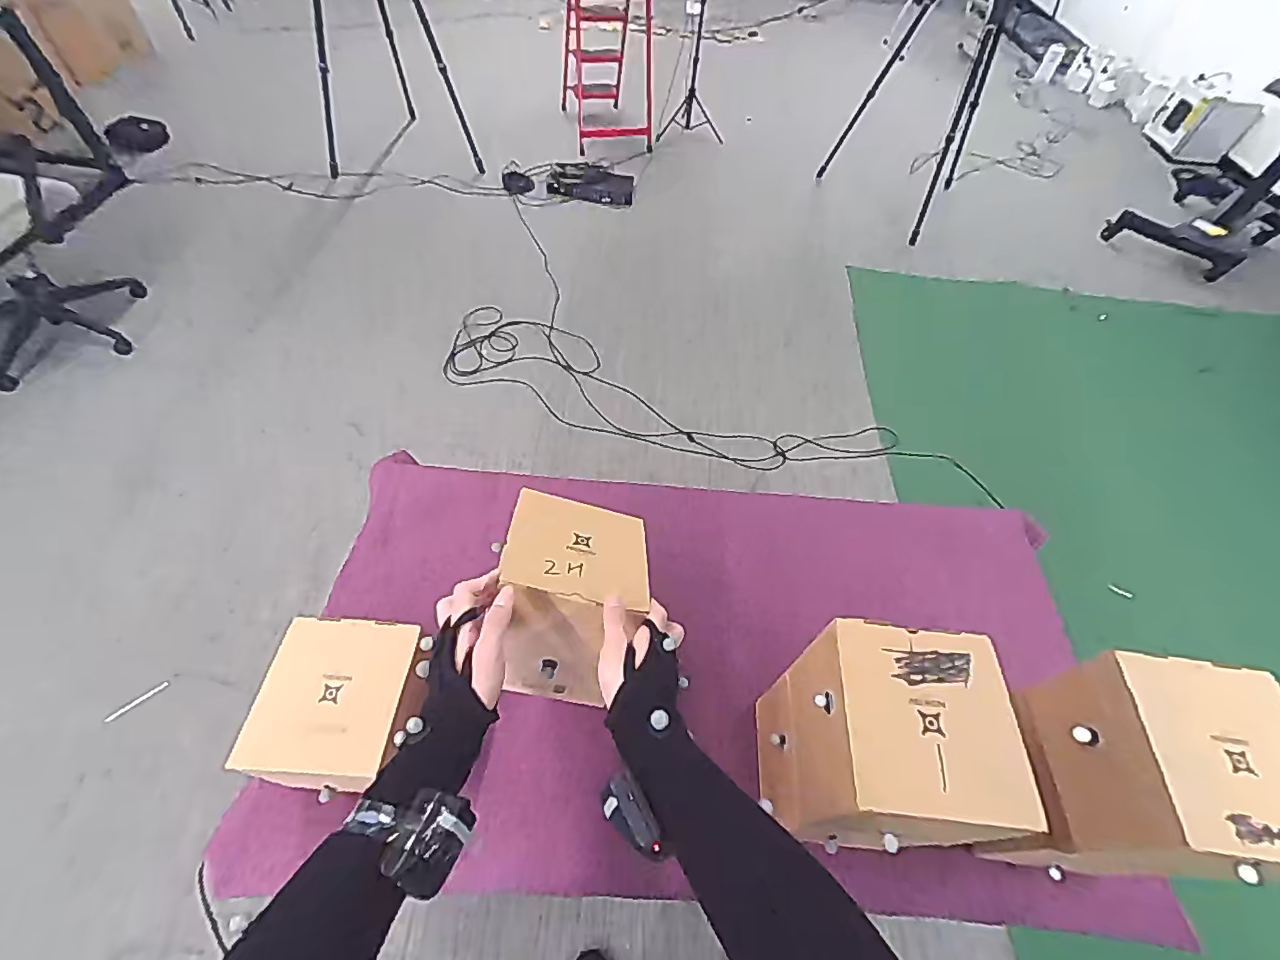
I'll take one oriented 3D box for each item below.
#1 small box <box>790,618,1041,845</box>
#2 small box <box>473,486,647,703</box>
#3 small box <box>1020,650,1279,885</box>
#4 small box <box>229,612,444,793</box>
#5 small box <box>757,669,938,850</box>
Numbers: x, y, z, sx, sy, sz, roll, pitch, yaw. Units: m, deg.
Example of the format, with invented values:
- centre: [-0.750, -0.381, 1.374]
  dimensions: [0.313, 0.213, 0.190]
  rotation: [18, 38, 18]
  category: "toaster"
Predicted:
- centre: [0.265, 0.269, 0.574]
  dimensions: [0.168, 0.176, 0.179]
  rotation: [7, 53, 1]
  category: "small box"
- centre: [-0.097, 0.139, 0.668]
  dimensions: [0.168, 0.176, 0.179]
  rotation: [16, 31, -11]
  category: "small box"
- centre: [0.545, 0.304, 0.568]
  dimensions: [0.168, 0.176, 0.179]
  rotation: [8, 53, 3]
  category: "small box"
- centre: [-0.370, 0.292, 0.704]
  dimensions: [0.168, 0.176, 0.179]
  rotation: [5, 54, -1]
  category: "small box"
- centre: [0.253, 0.368, 0.705]
  dimensions: [0.168, 0.176, 0.179]
  rotation: [7, 53, 0]
  category: "small box"
